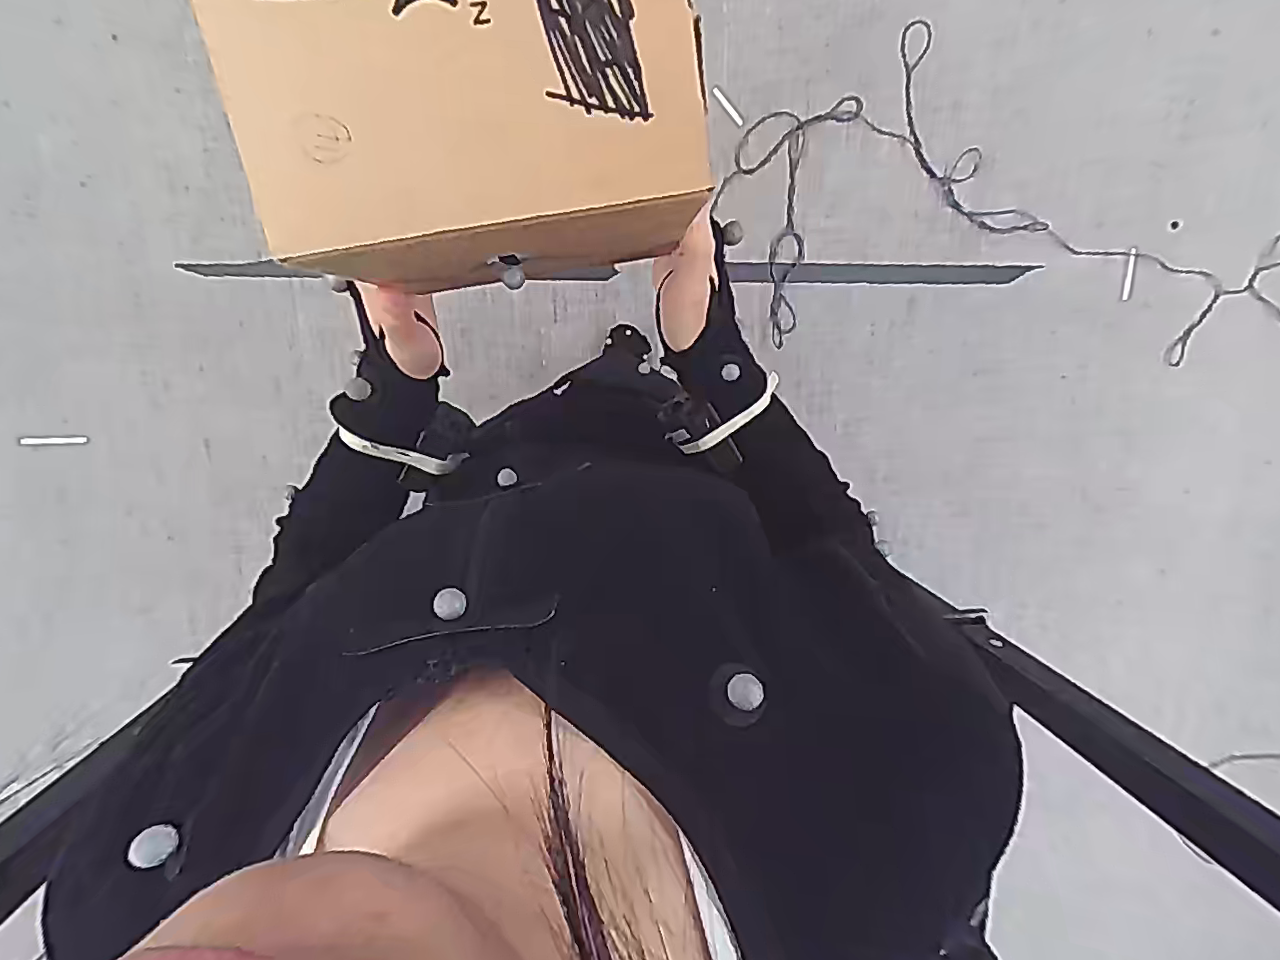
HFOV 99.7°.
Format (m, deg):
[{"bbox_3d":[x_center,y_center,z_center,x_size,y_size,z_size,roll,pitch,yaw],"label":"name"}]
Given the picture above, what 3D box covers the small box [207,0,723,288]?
[{"bbox_3d":[-0.068,-0.196,0.266,0.179,0.176,0.168,-9,105,0],"label":"small box"}]
